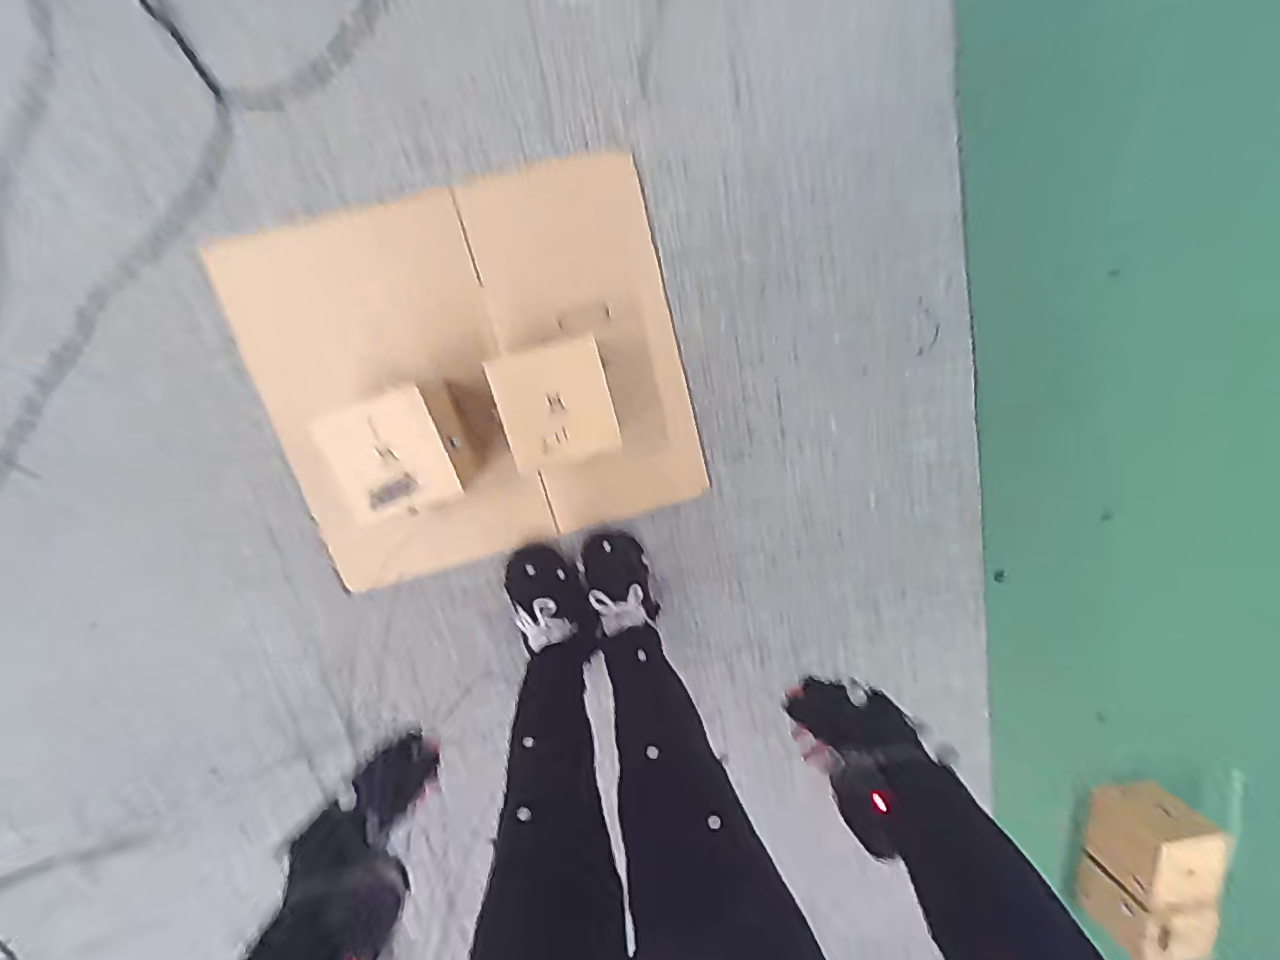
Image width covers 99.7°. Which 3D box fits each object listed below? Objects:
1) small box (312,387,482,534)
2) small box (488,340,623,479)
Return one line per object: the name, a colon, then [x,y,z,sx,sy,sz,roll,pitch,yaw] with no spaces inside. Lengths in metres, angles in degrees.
small box: [-0.370,-0.041,0.866,0.168,0.176,0.179,-20,103,-1]
small box: [-0.131,-0.119,0.880,0.168,0.176,0.179,-15,104,-2]
